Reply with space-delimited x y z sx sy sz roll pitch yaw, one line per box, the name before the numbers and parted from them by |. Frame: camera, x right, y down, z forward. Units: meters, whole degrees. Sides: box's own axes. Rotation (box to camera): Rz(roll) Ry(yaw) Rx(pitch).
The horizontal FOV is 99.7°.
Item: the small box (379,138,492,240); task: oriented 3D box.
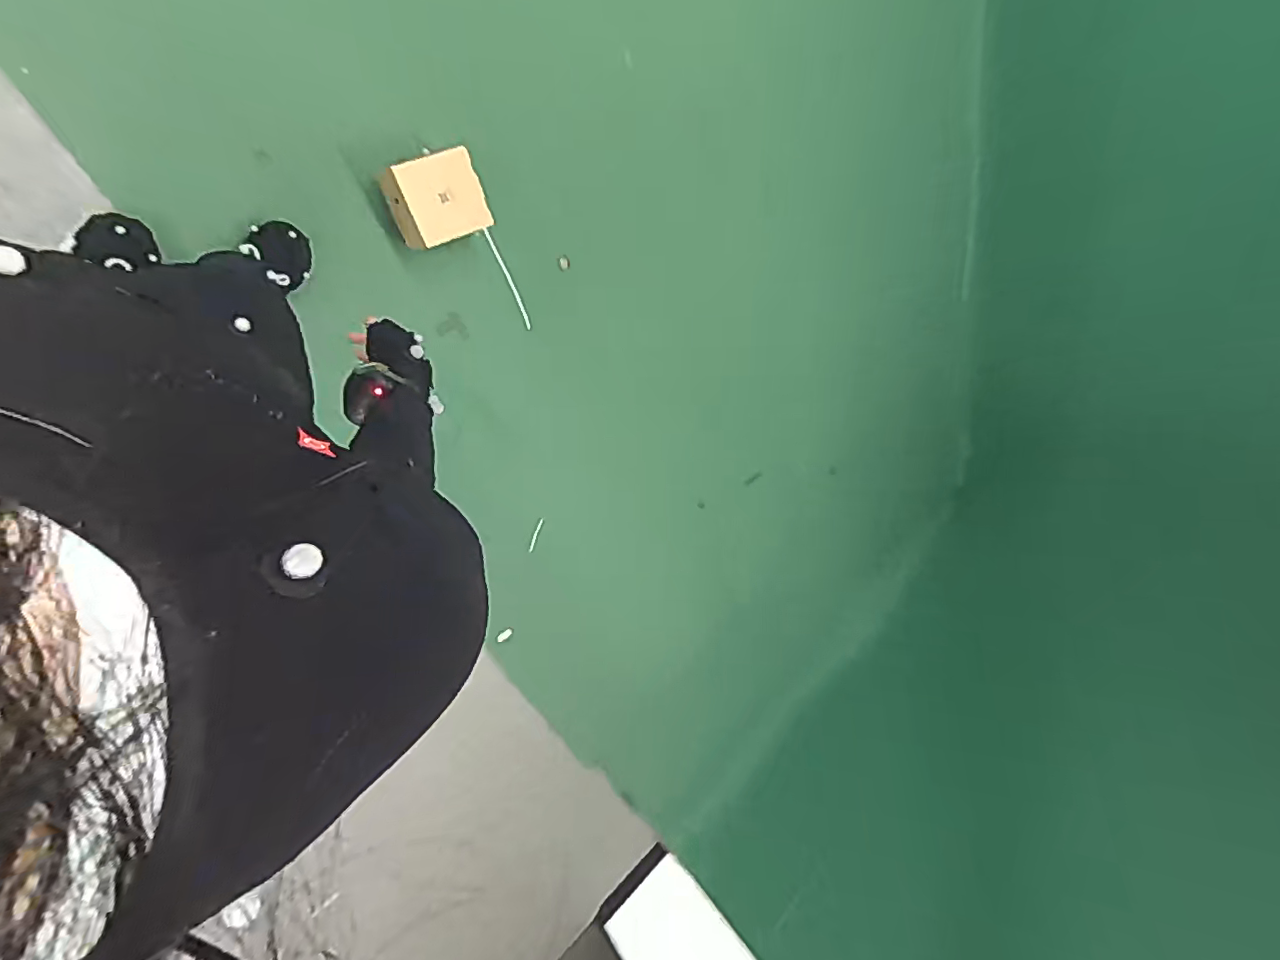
small box | -0.477 -0.663 1.246 0.179 0.176 0.168 -34 126 -23
